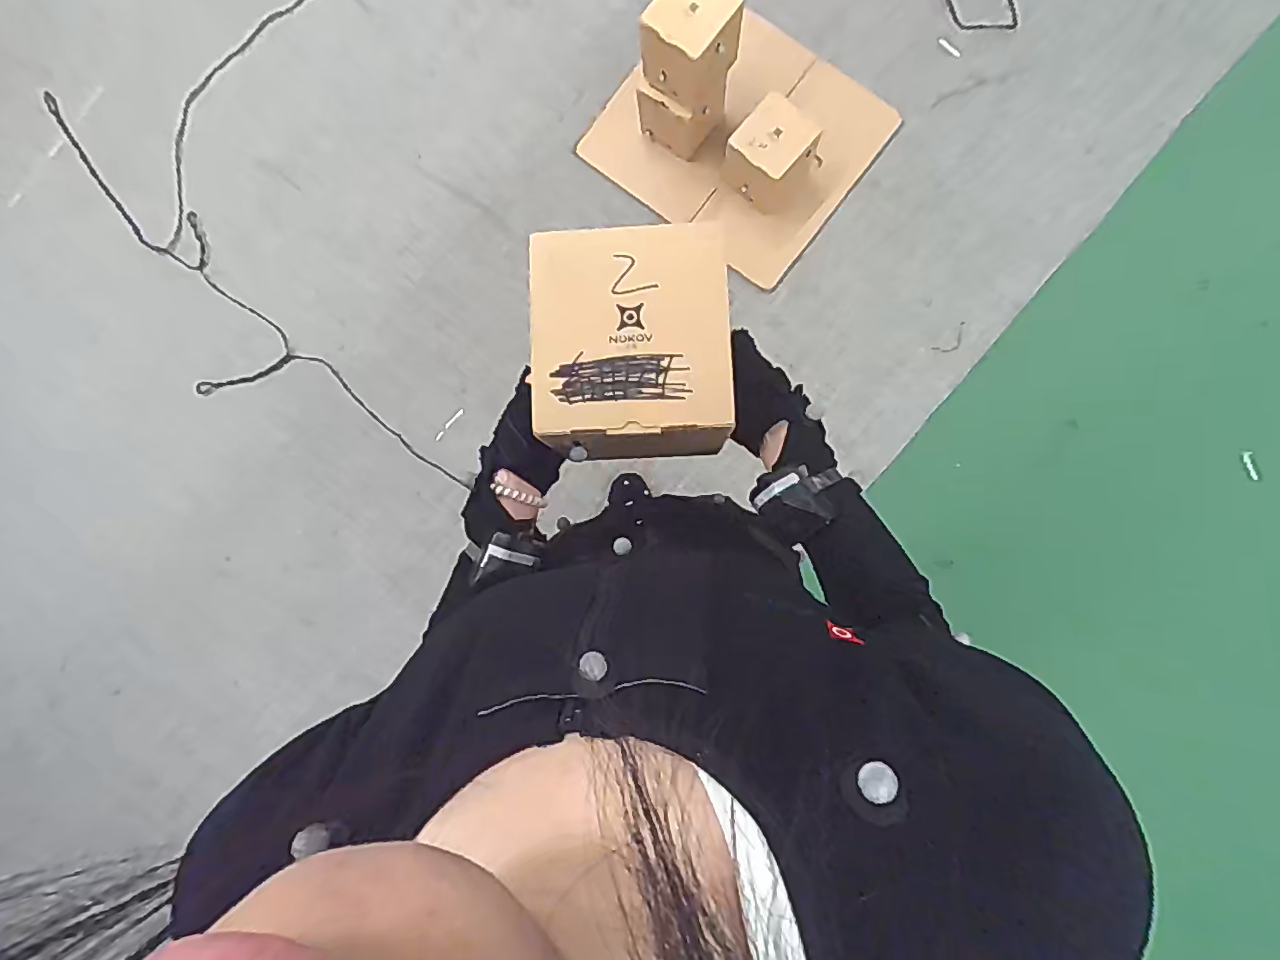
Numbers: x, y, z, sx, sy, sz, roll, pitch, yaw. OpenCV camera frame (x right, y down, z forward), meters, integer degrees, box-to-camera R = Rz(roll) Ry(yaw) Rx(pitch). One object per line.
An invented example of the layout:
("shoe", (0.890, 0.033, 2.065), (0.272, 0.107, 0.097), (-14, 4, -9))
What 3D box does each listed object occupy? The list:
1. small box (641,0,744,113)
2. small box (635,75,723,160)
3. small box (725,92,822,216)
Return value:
("small box", (0.118, -1.027, 1.271), (0.168, 0.176, 0.179), (38, 91, 4))
("small box", (0.108, -1.001, 1.434), (0.168, 0.176, 0.179), (36, 90, 5))
("small box", (0.337, -0.843, 1.414), (0.168, 0.176, 0.179), (42, 92, 5))
